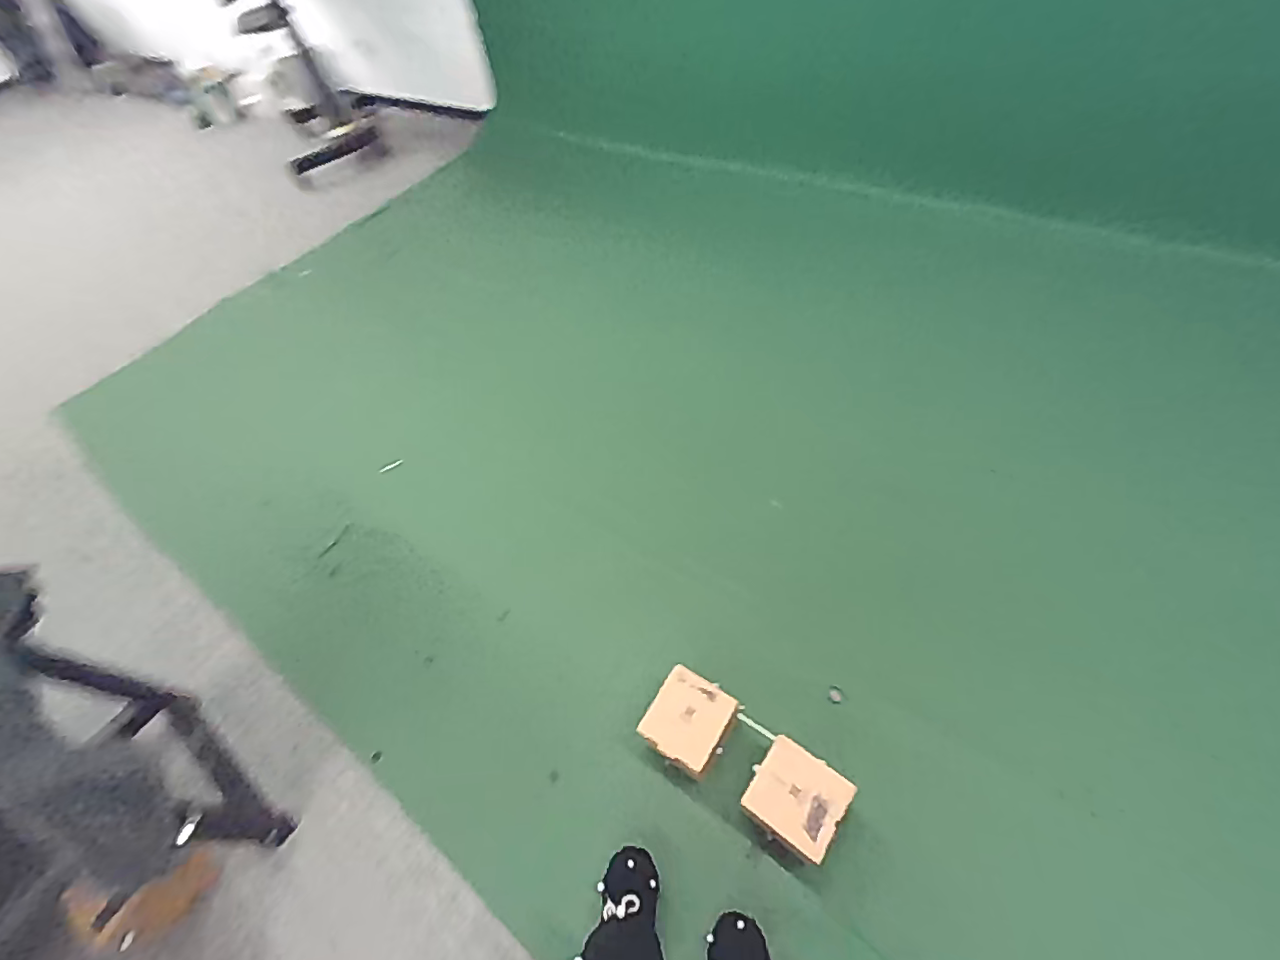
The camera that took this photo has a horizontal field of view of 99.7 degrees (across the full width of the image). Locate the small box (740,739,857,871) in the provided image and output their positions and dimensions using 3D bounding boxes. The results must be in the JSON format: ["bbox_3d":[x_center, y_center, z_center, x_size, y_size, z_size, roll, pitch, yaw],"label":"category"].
[{"bbox_3d":[0.331,0.690,1.153,0.179,0.176,0.168,30,64,27],"label":"small box"}]

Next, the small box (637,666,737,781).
[{"bbox_3d":[0.119,0.577,1.270,0.168,0.176,0.179,26,64,25],"label":"small box"}]
